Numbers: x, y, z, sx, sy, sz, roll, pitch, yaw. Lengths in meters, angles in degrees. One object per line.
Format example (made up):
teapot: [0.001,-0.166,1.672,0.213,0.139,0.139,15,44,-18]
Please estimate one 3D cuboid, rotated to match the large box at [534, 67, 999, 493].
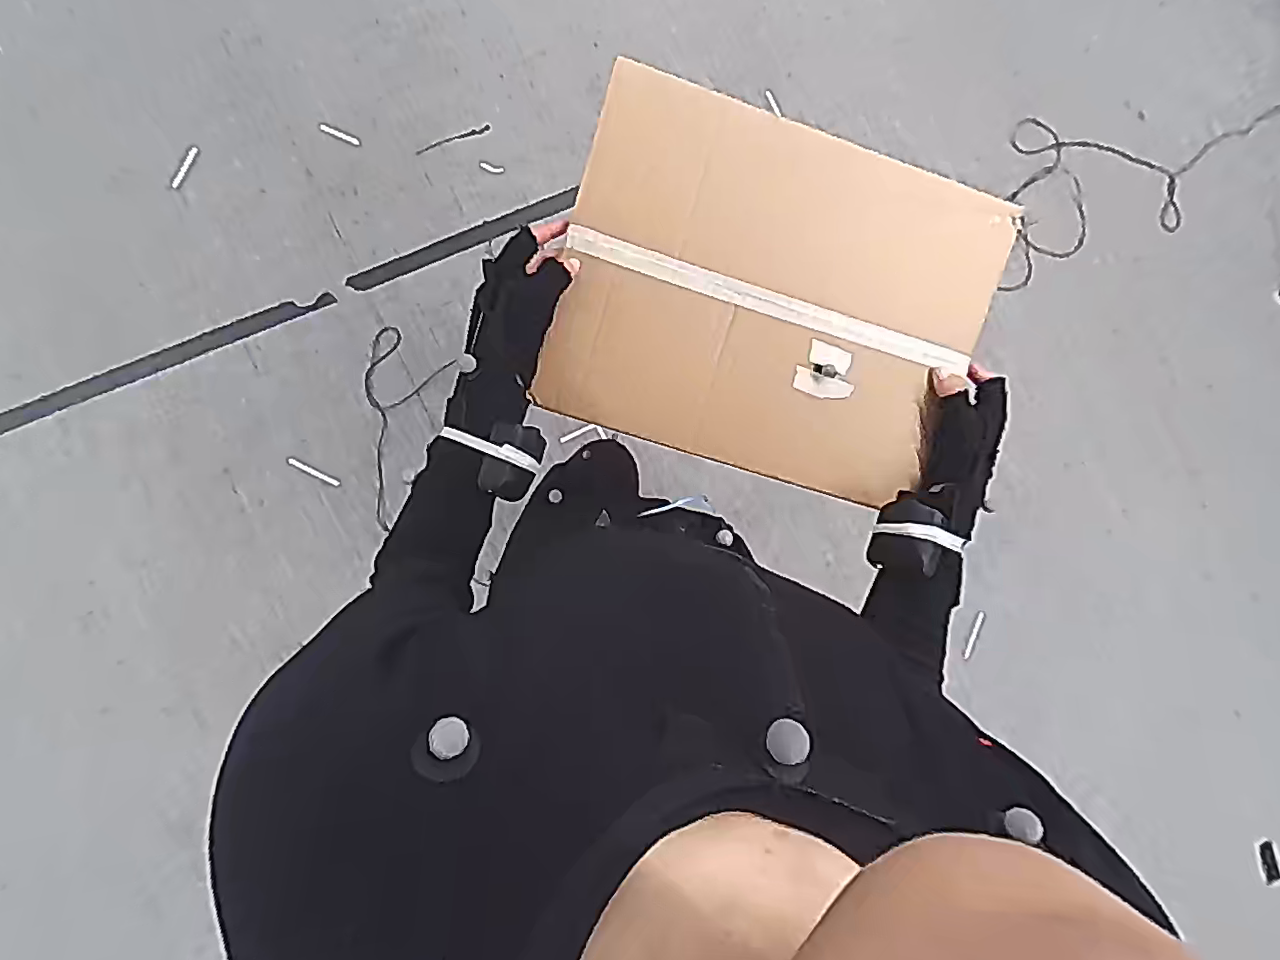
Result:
large box: [0.113,-0.203,0.675,0.408,0.320,0.320,16,98,-7]
